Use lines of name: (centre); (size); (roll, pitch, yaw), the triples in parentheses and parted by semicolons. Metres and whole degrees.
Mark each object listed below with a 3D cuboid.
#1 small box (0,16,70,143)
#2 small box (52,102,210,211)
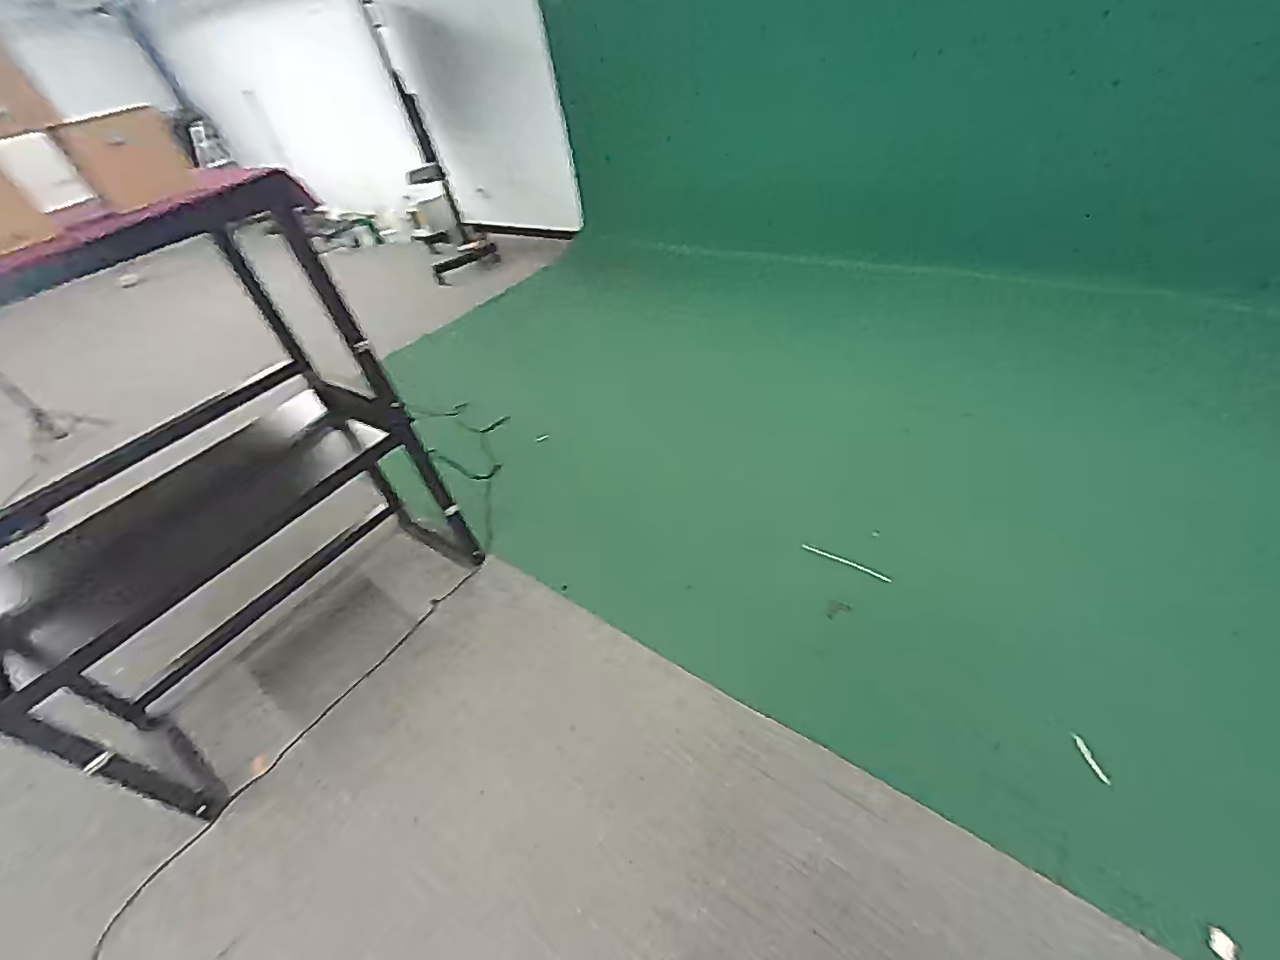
small box: (-1.235, -0.742, 1.014); (0.168, 0.176, 0.179); (22, 51, 34)
small box: (-1.122, -0.713, 1.200); (0.168, 0.176, 0.179); (21, 51, 32)
